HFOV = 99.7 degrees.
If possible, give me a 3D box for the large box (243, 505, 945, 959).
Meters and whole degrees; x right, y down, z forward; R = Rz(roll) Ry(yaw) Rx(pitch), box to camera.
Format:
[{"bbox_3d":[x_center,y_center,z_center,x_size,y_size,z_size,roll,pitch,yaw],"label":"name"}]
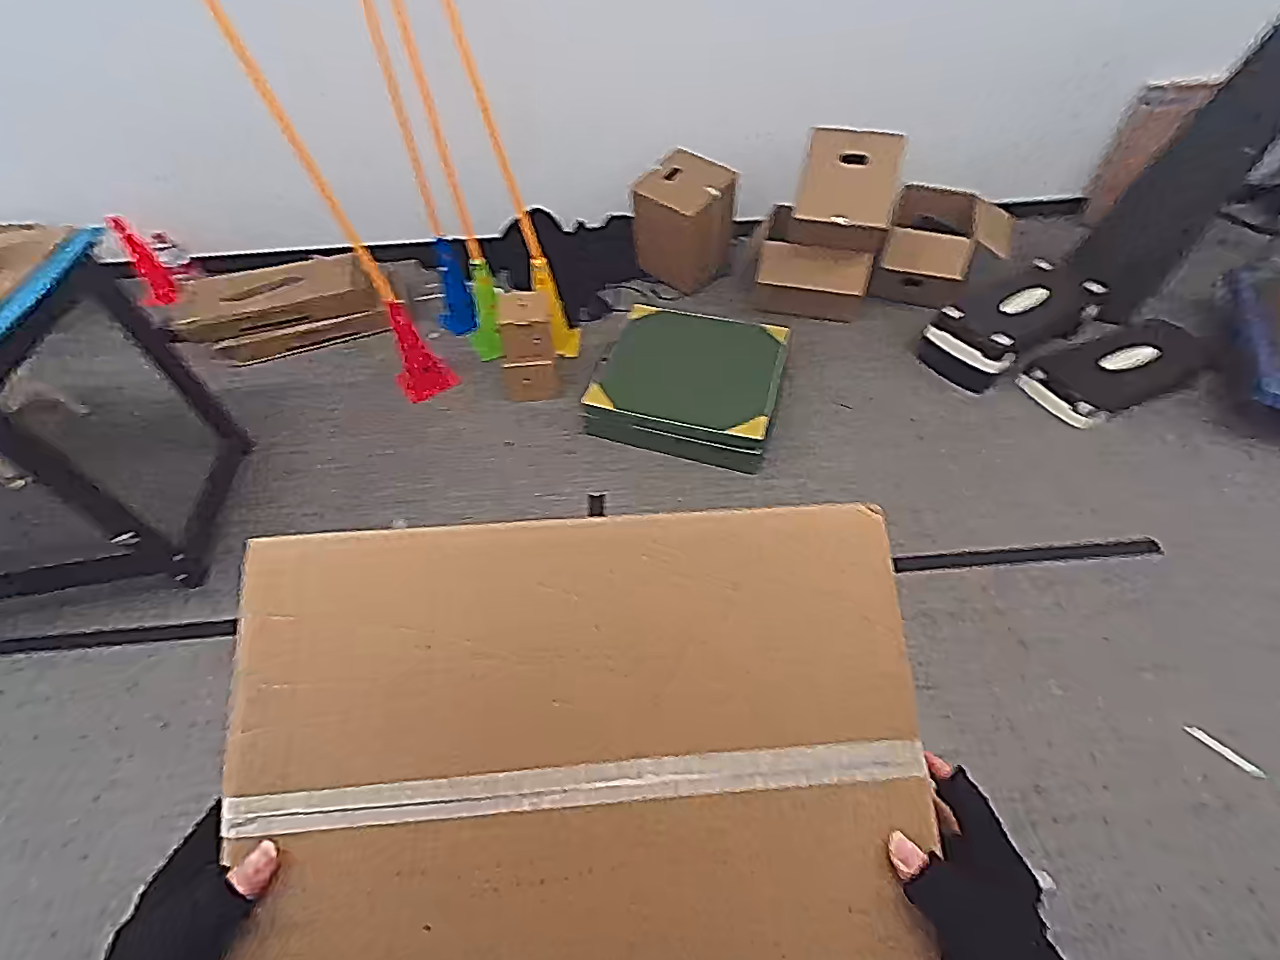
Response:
[{"bbox_3d":[-0.035,0.211,0.474,0.408,0.320,0.320,-3,78,-3],"label":"large box"}]
